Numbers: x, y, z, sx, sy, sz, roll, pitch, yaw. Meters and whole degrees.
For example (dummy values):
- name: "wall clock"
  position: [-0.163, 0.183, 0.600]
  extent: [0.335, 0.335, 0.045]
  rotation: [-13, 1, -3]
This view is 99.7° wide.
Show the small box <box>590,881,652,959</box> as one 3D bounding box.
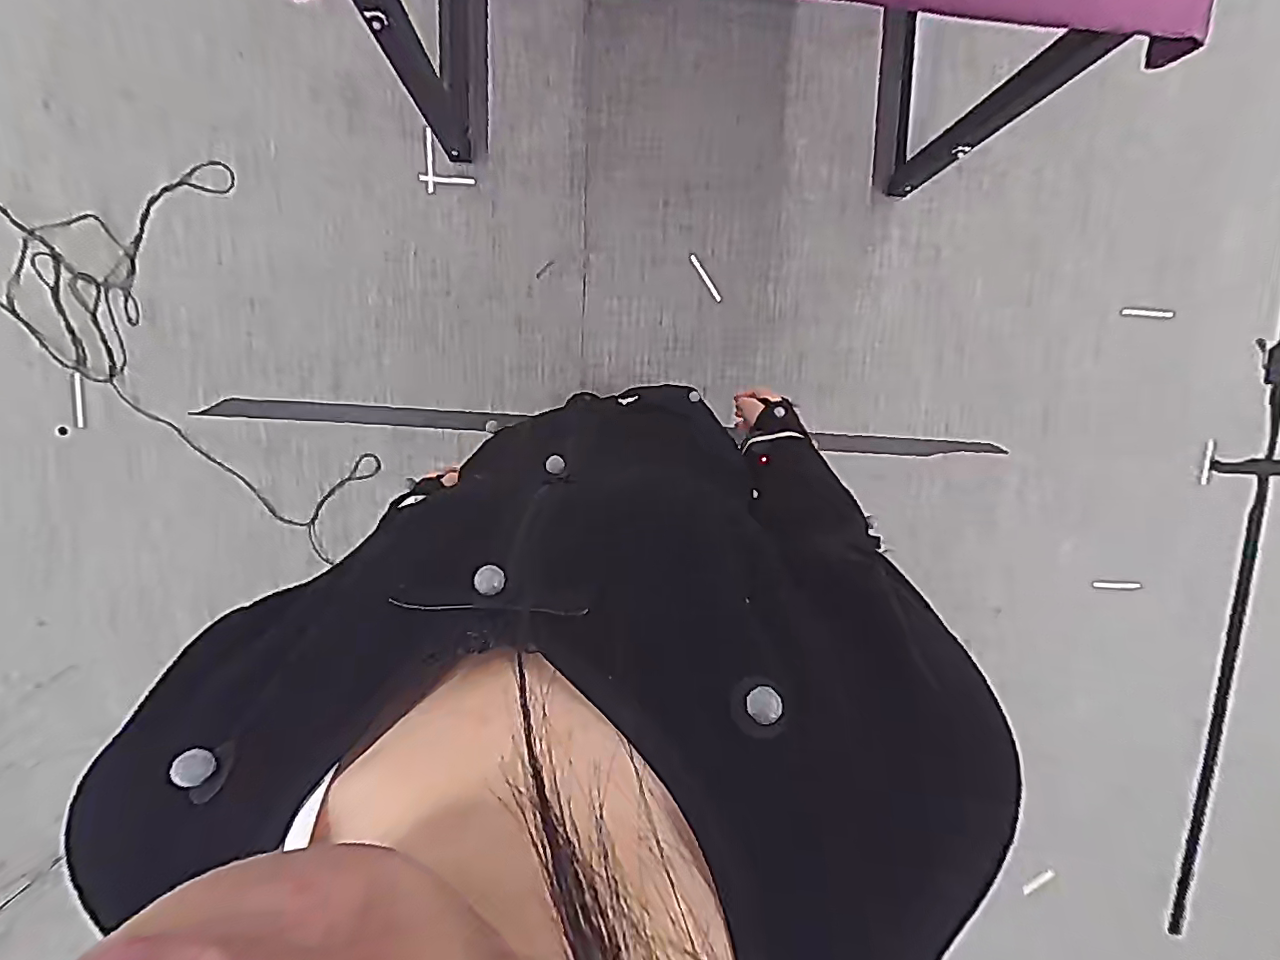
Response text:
- name: "small box"
  position: [-0.059, 1.317, 1.582]
  extent: [0.168, 0.176, 0.179]
  rotation: [4, 98, -3]
